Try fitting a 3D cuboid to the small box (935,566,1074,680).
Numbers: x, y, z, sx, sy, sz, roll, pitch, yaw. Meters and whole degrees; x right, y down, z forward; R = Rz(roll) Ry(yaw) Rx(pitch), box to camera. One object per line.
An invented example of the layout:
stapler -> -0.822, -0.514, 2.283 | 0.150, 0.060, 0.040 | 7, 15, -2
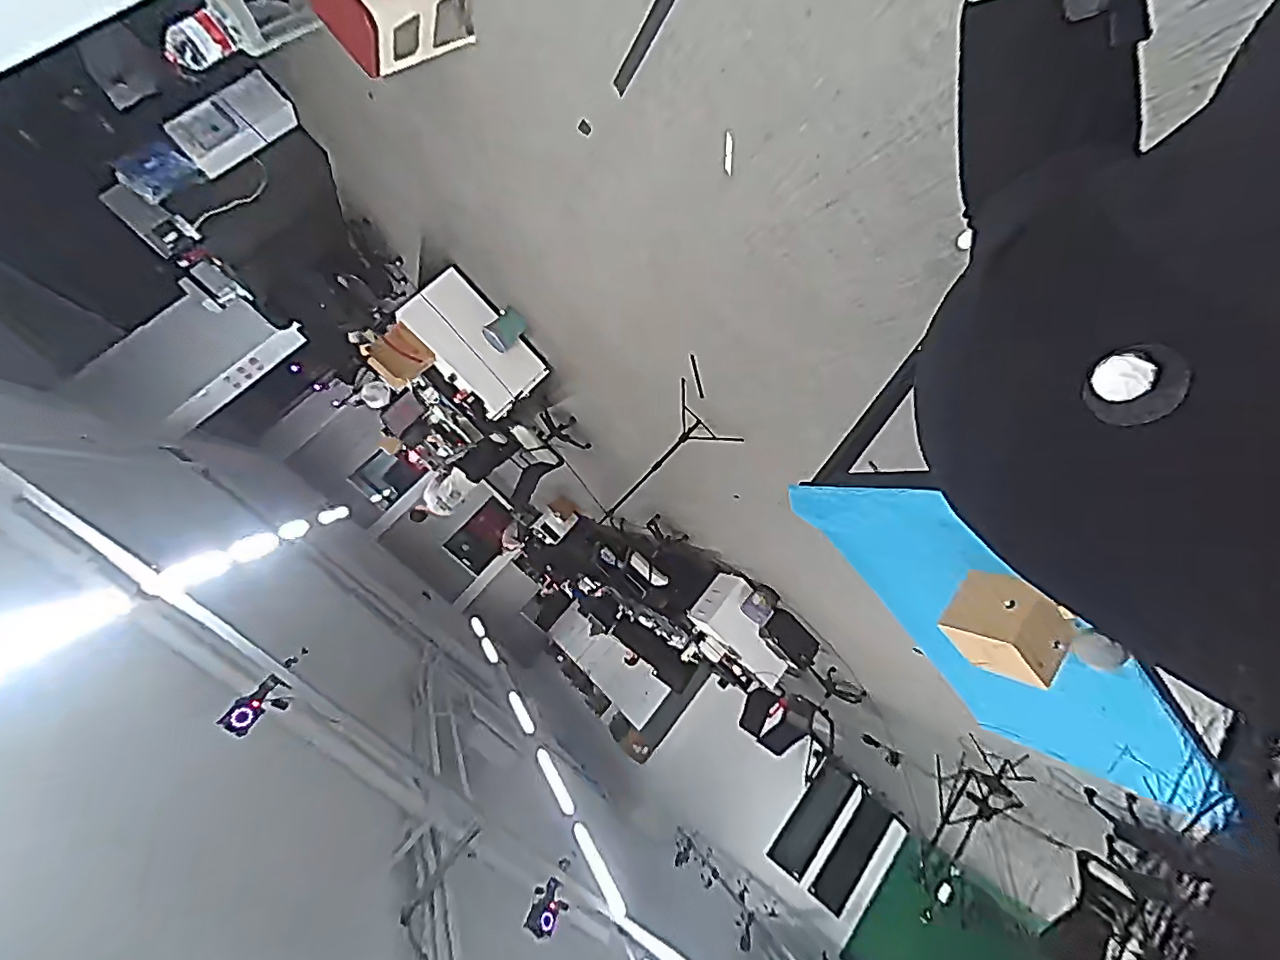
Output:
small box -> 0.821, 0.321, 1.226 | 0.168, 0.176, 0.179 | 46, 164, -16
